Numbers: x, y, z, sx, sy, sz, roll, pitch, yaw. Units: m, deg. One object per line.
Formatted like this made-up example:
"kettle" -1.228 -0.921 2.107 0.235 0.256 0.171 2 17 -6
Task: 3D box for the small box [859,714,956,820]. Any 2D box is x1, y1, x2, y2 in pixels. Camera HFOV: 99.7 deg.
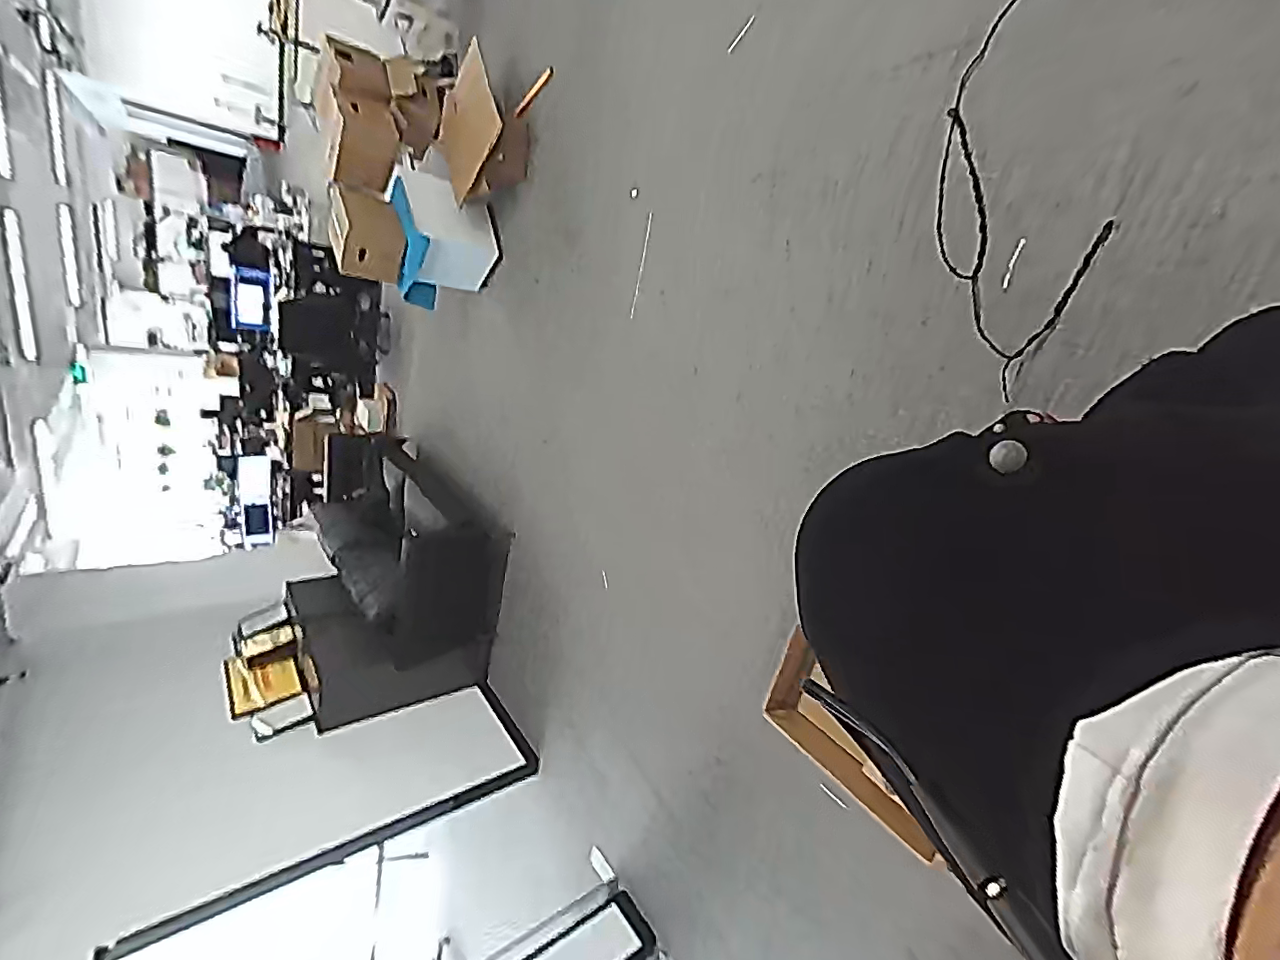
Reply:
"small box" 0.757 0.796 1.522 0.168 0.176 0.179 34 117 44
